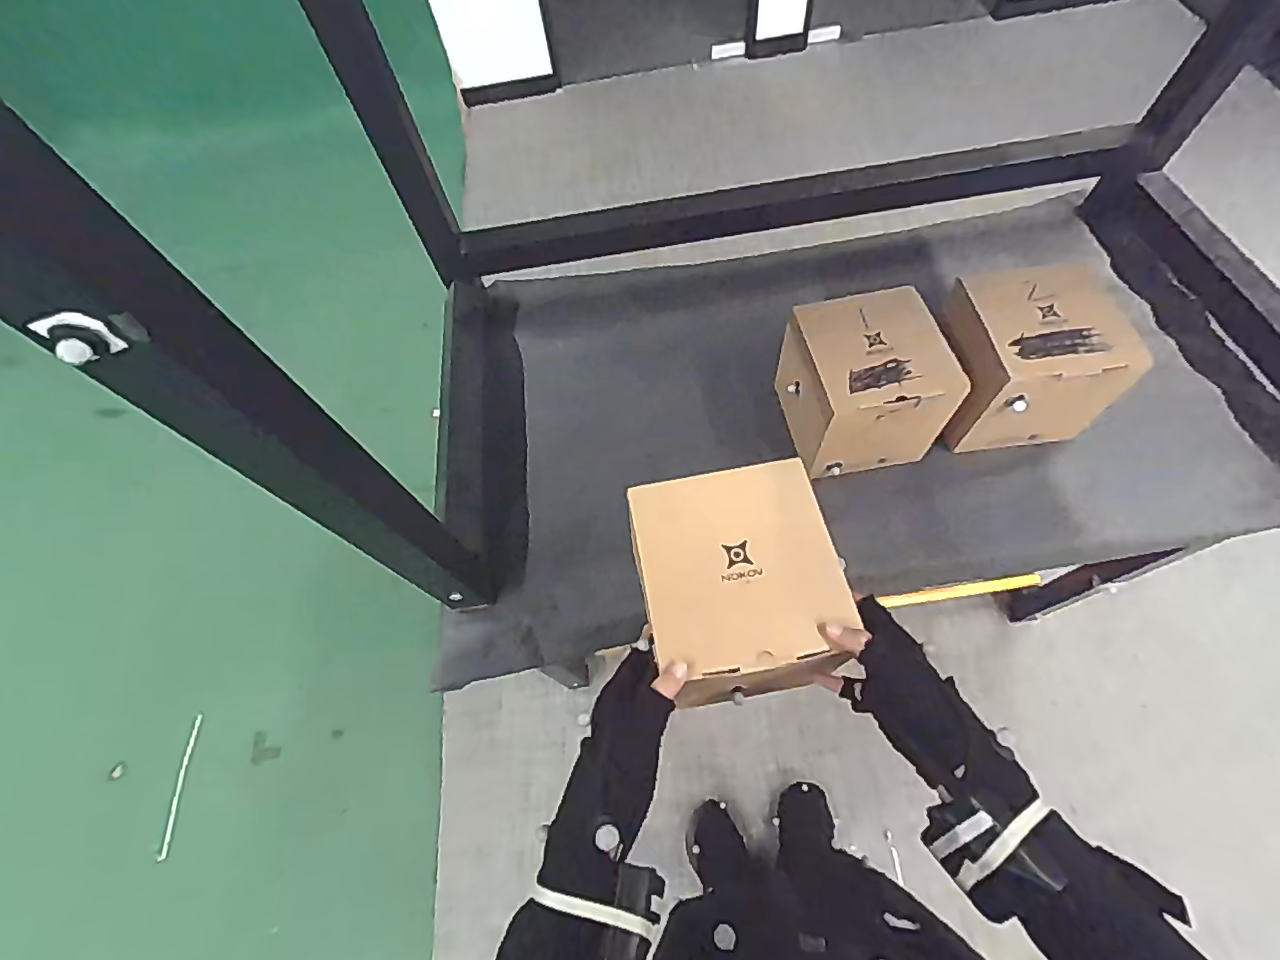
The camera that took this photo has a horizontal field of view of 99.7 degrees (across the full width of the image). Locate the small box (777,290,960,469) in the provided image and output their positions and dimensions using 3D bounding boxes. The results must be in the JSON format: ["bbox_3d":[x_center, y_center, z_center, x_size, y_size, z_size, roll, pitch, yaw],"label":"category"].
[{"bbox_3d":[0.299,-0.128,0.753,0.168,0.176,0.179,-10,61,1],"label":"small box"}]

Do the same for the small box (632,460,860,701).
[{"bbox_3d":[0.088,0.107,0.544,0.168,0.176,0.179,-11,60,-2],"label":"small box"}]
